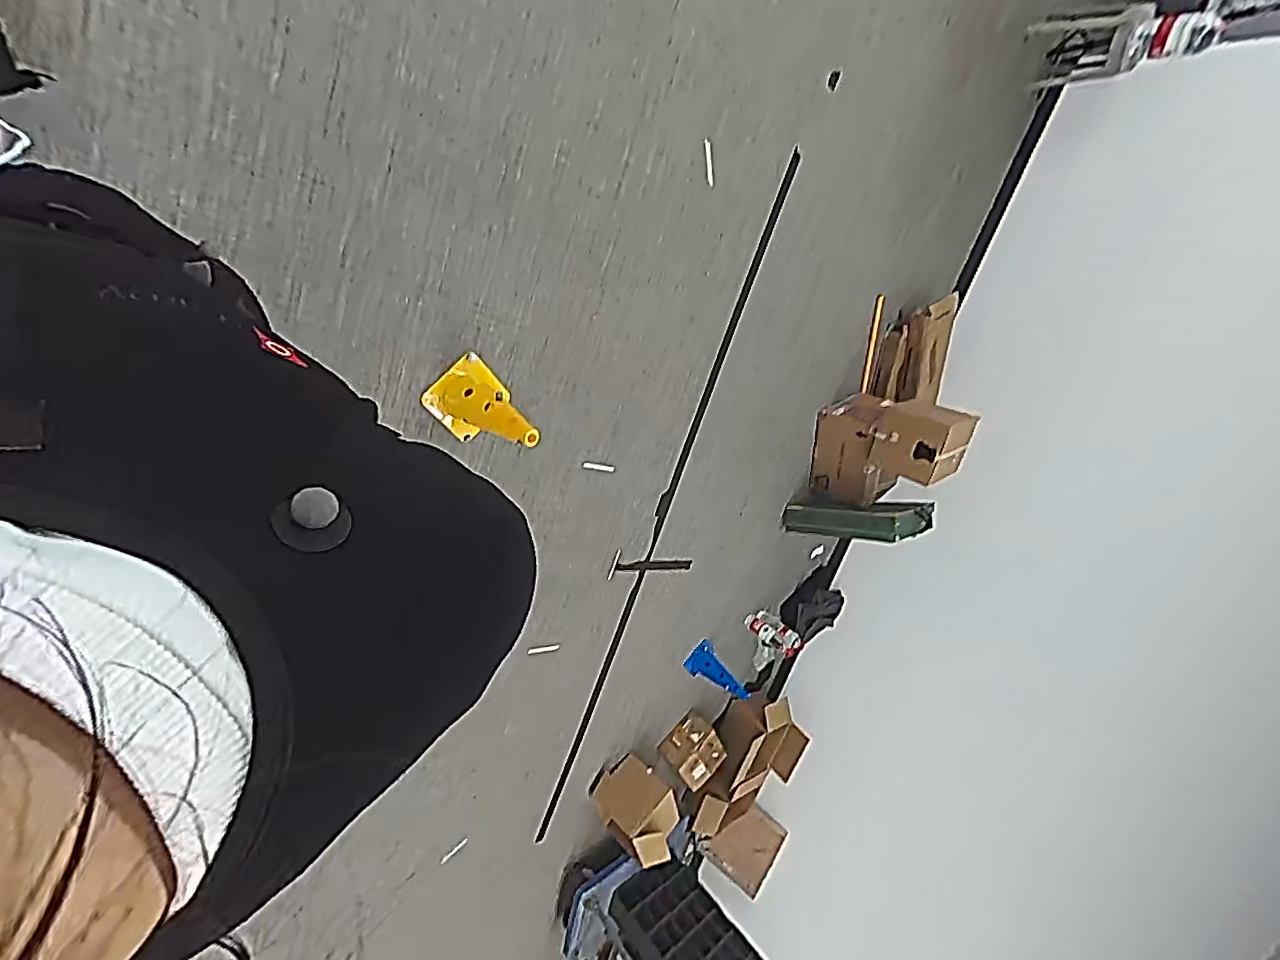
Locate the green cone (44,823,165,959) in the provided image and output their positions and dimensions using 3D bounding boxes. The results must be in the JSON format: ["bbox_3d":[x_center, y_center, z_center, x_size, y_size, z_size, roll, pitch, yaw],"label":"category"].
[{"bbox_3d":[-1.257,1.056,1.273,0.202,0.368,0.200,-11,119,-39],"label":"green cone"}]
